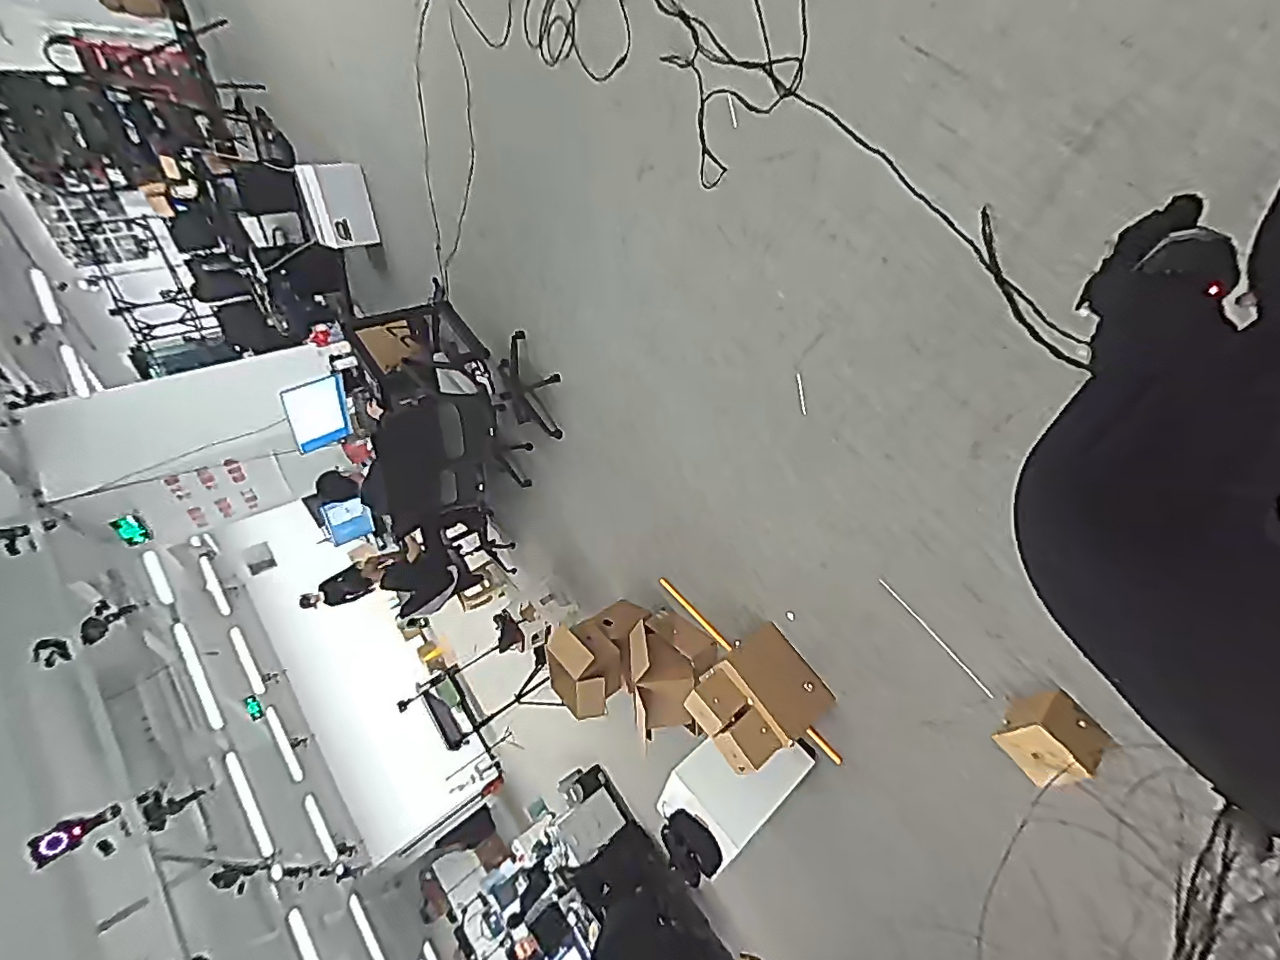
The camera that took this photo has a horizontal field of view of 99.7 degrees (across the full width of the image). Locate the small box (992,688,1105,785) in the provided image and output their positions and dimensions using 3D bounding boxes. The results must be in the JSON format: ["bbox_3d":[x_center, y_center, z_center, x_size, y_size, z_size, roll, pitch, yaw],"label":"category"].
[{"bbox_3d":[1.161,0.726,1.535,0.168,0.176,0.179,49,145,19],"label":"small box"}]
